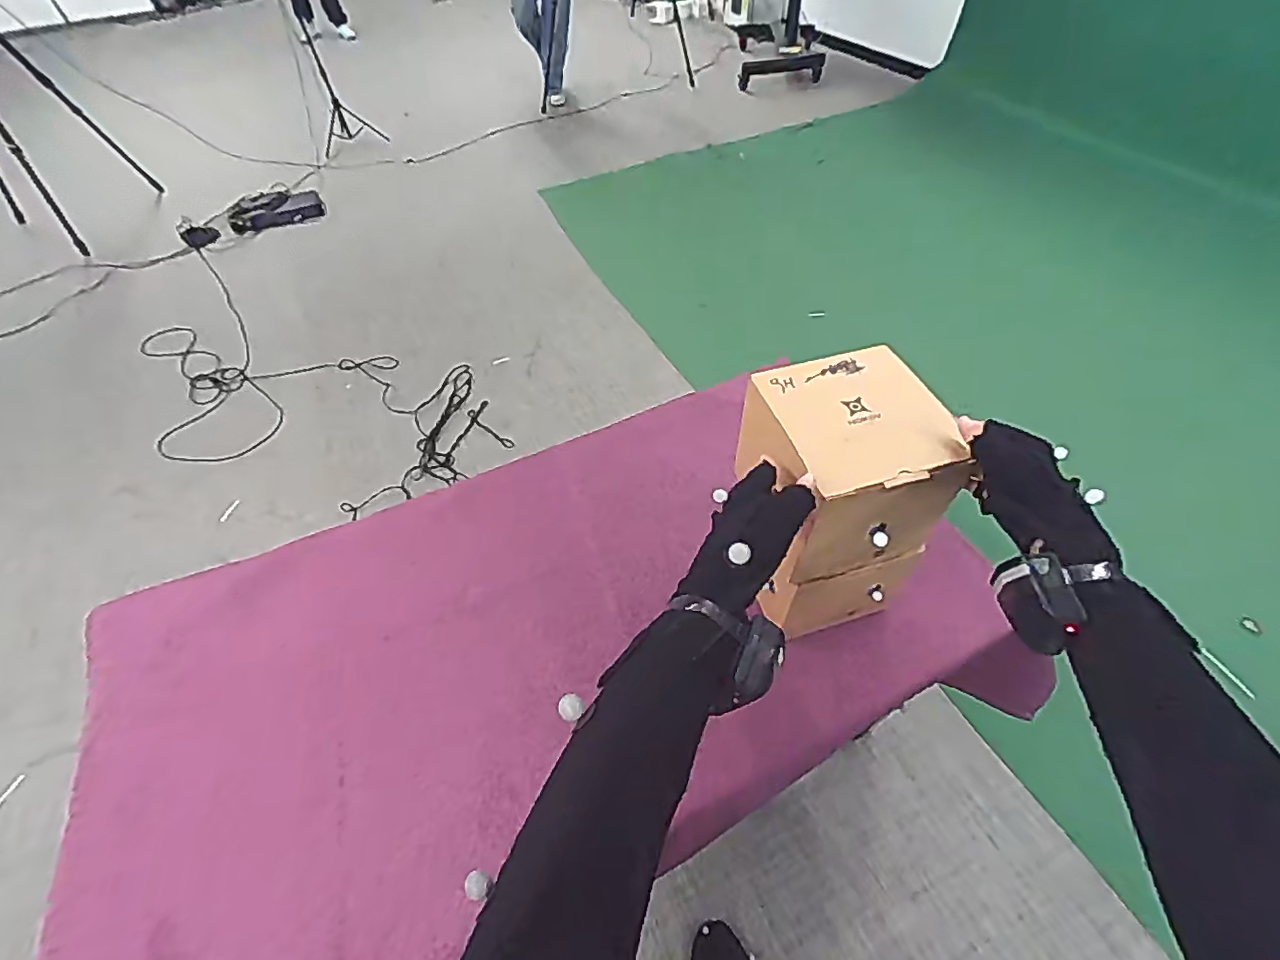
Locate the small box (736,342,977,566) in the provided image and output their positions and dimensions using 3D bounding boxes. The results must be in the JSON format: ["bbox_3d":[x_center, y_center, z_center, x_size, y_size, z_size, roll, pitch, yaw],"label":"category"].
[{"bbox_3d":[0.218,-0.020,0.604,0.168,0.176,0.179,-13,54,-8],"label":"small box"}]

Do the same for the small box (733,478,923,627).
[{"bbox_3d":[0.236,0.081,0.732,0.168,0.176,0.179,-14,53,-7],"label":"small box"}]
